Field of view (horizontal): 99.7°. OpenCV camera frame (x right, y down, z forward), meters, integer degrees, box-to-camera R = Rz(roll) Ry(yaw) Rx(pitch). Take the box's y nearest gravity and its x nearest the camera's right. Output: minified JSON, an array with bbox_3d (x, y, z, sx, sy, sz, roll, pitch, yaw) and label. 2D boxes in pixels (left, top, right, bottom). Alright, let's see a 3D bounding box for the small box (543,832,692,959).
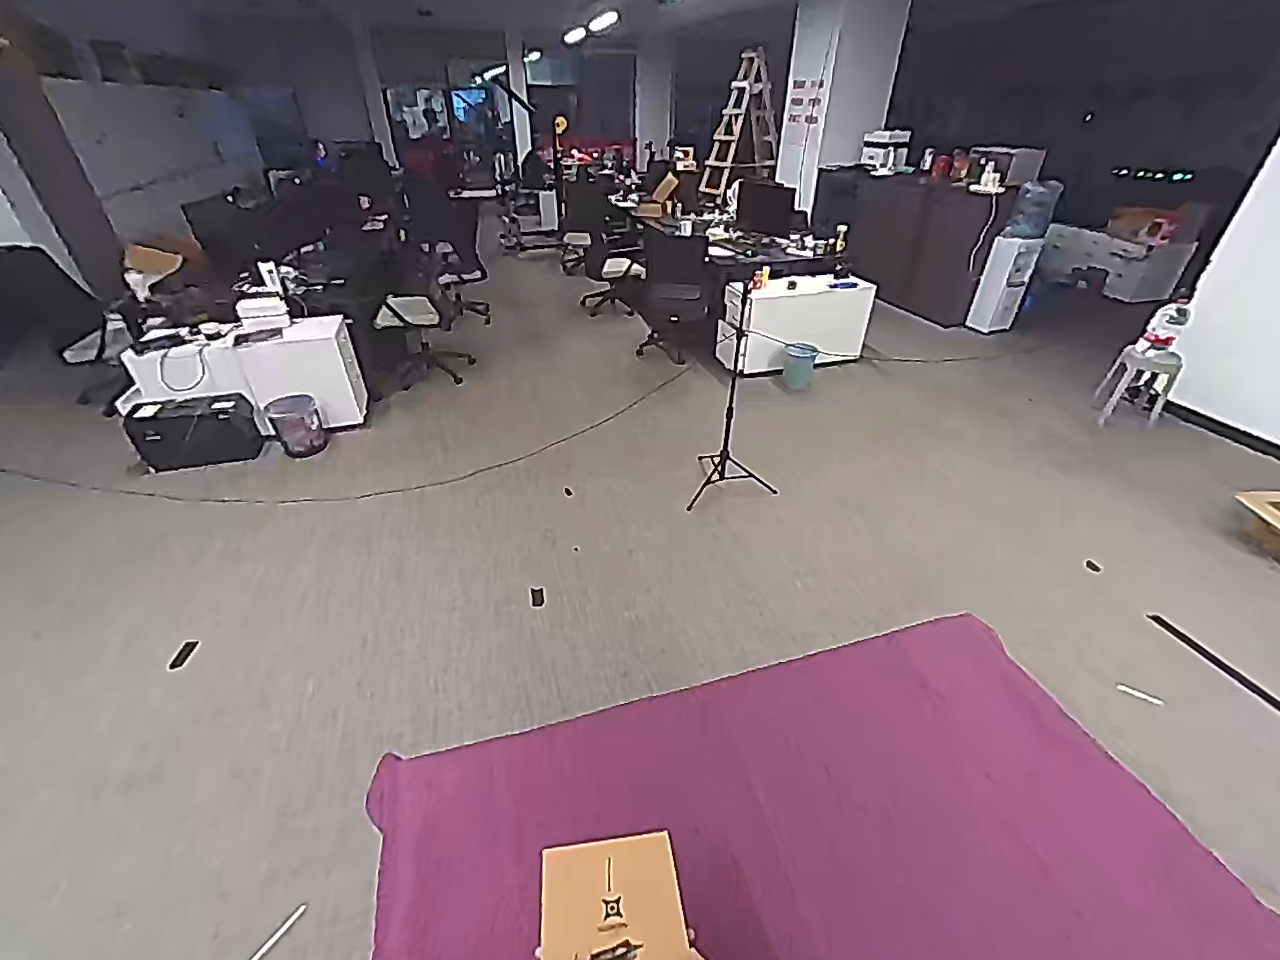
[{"bbox_3d":[-0.027,0.575,0.658,0.168,0.176,0.179,-4,29,-7],"label":"small box"}]
